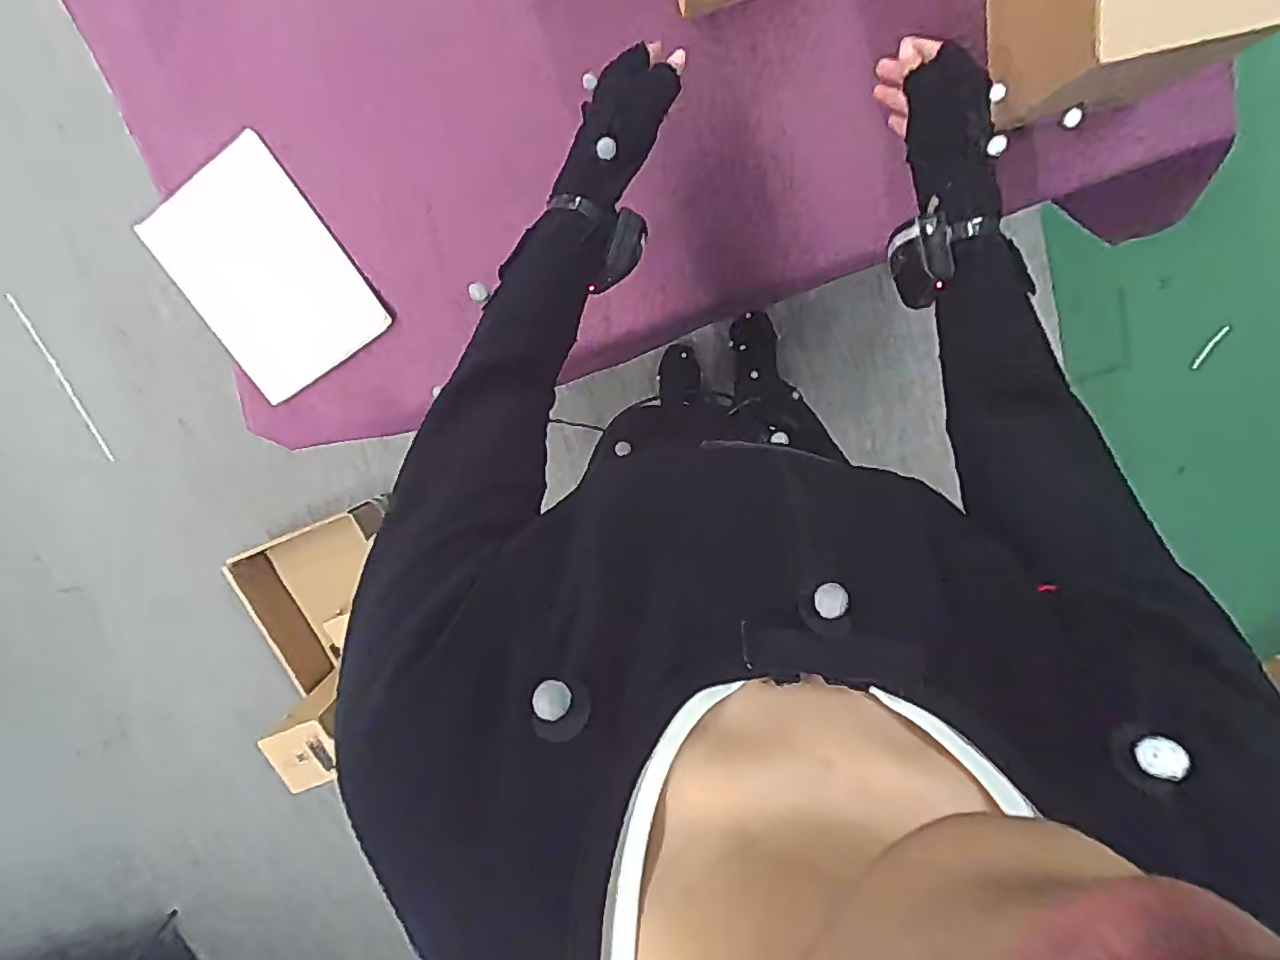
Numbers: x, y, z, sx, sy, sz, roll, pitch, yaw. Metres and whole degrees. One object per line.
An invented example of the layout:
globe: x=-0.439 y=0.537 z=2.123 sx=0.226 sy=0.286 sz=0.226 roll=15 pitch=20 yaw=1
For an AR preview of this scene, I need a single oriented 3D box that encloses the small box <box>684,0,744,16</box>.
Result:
small box: x=0.100 y=-0.584 z=0.487 sx=0.168 sy=0.176 sz=0.179 roll=-16 pitch=105 yaw=6
